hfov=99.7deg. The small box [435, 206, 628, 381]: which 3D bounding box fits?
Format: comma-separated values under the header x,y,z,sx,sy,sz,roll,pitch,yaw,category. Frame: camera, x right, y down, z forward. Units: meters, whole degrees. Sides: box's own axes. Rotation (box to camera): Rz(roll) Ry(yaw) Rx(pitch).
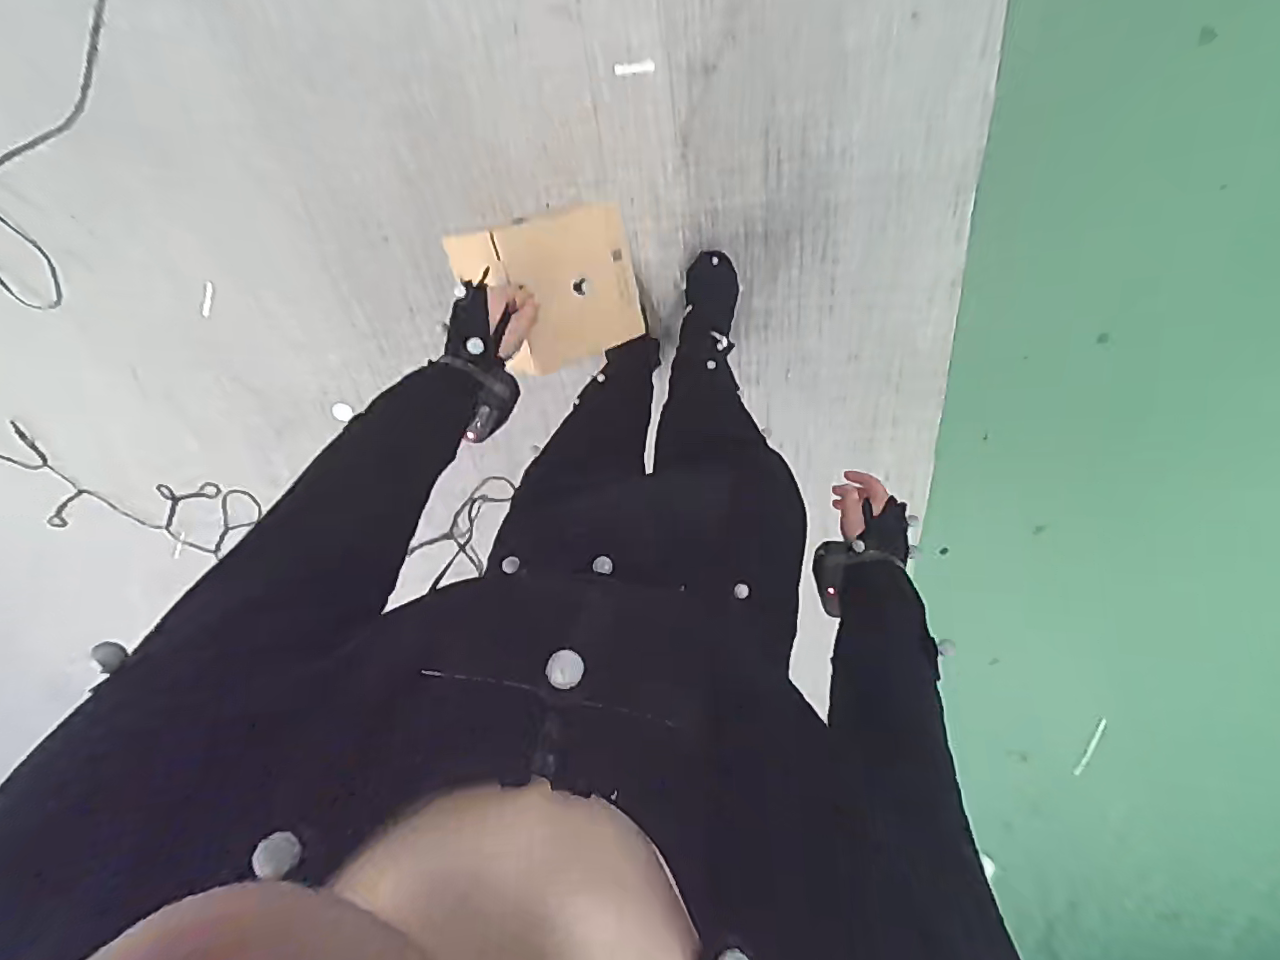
x,y,z,sx,sy,sz,roll,pitch,yaw,category
-0.132,-0.246,0.710,0.176,0.179,0.168,-32,123,-27,small box
